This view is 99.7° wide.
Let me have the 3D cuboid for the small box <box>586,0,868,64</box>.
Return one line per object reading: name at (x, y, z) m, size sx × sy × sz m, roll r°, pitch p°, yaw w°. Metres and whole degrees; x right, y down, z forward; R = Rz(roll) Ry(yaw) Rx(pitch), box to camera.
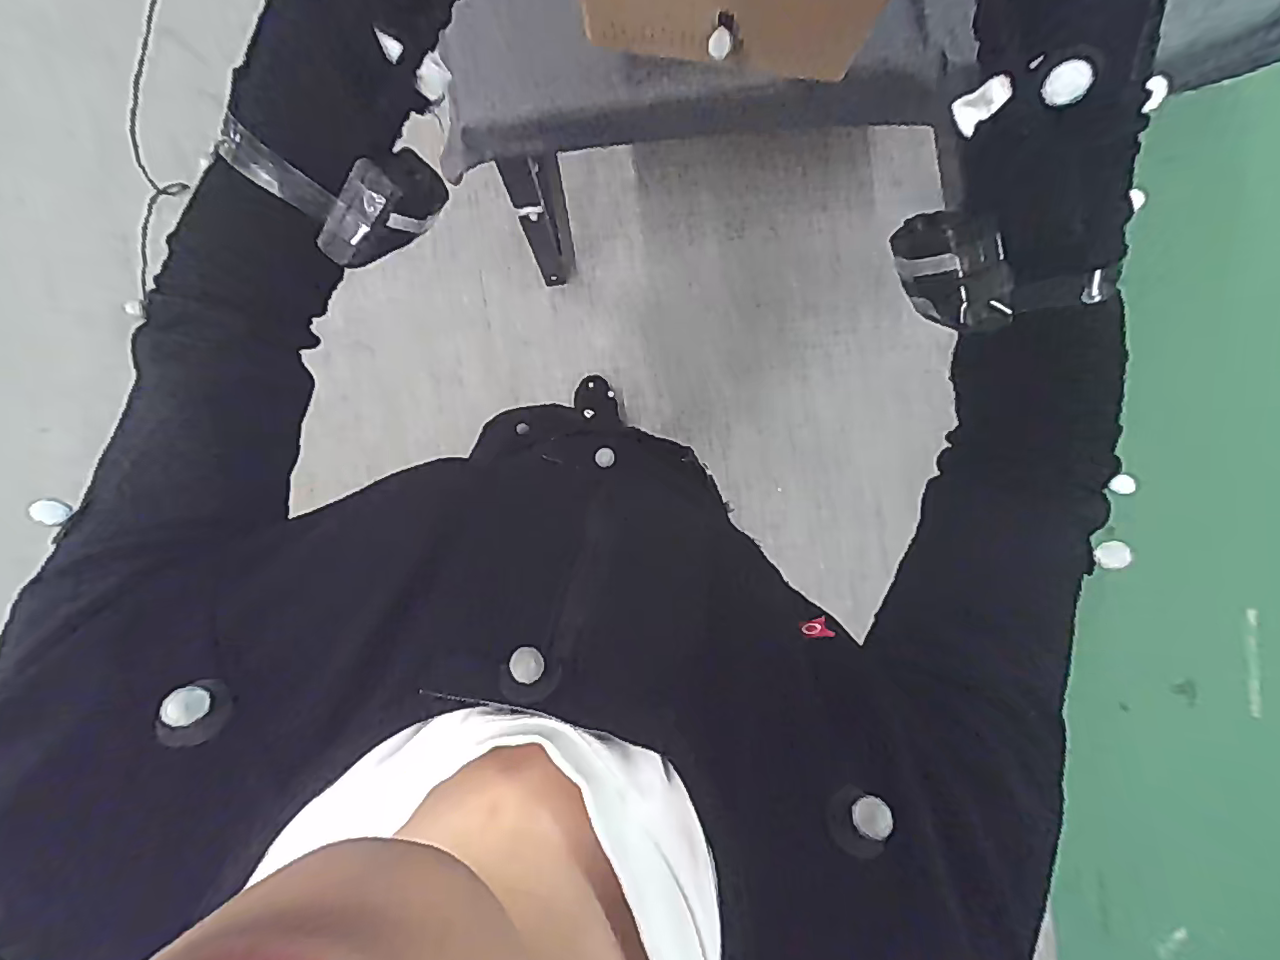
small box at (0.061, -0.357, 0.277) m, size 0.179 × 0.176 × 0.168 m, roll 7°, pitch 98°, yaw -1°
